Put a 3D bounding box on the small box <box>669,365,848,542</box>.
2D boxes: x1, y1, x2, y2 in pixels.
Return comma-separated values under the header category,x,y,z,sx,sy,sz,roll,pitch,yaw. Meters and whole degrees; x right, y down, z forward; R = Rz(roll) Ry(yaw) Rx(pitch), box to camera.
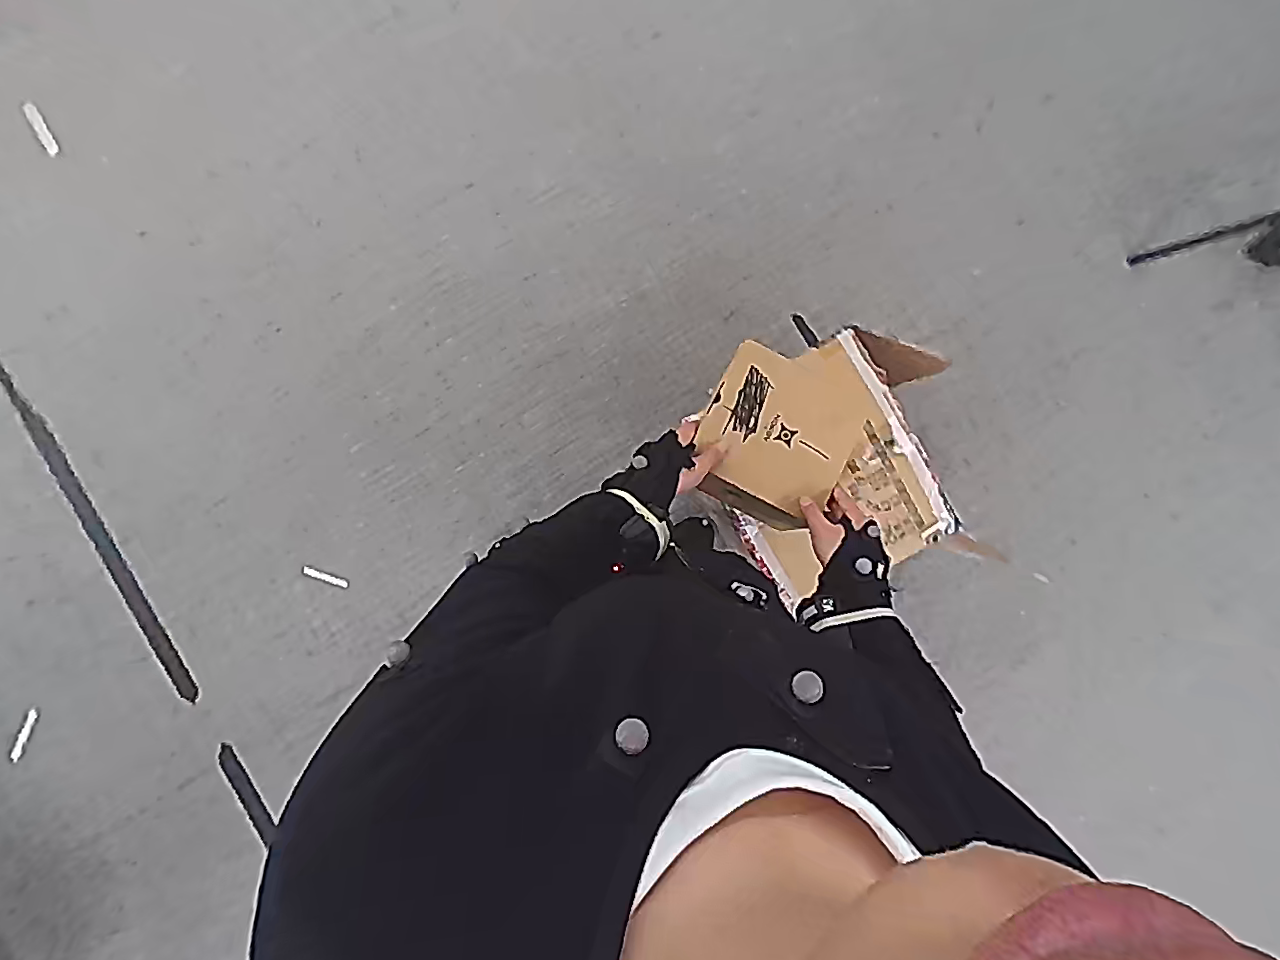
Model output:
category,x,y,z,sx,sy,sz,roll,pitch,yaw
small box,0.148,-0.024,0.736,0.179,0.176,0.168,22,79,6
